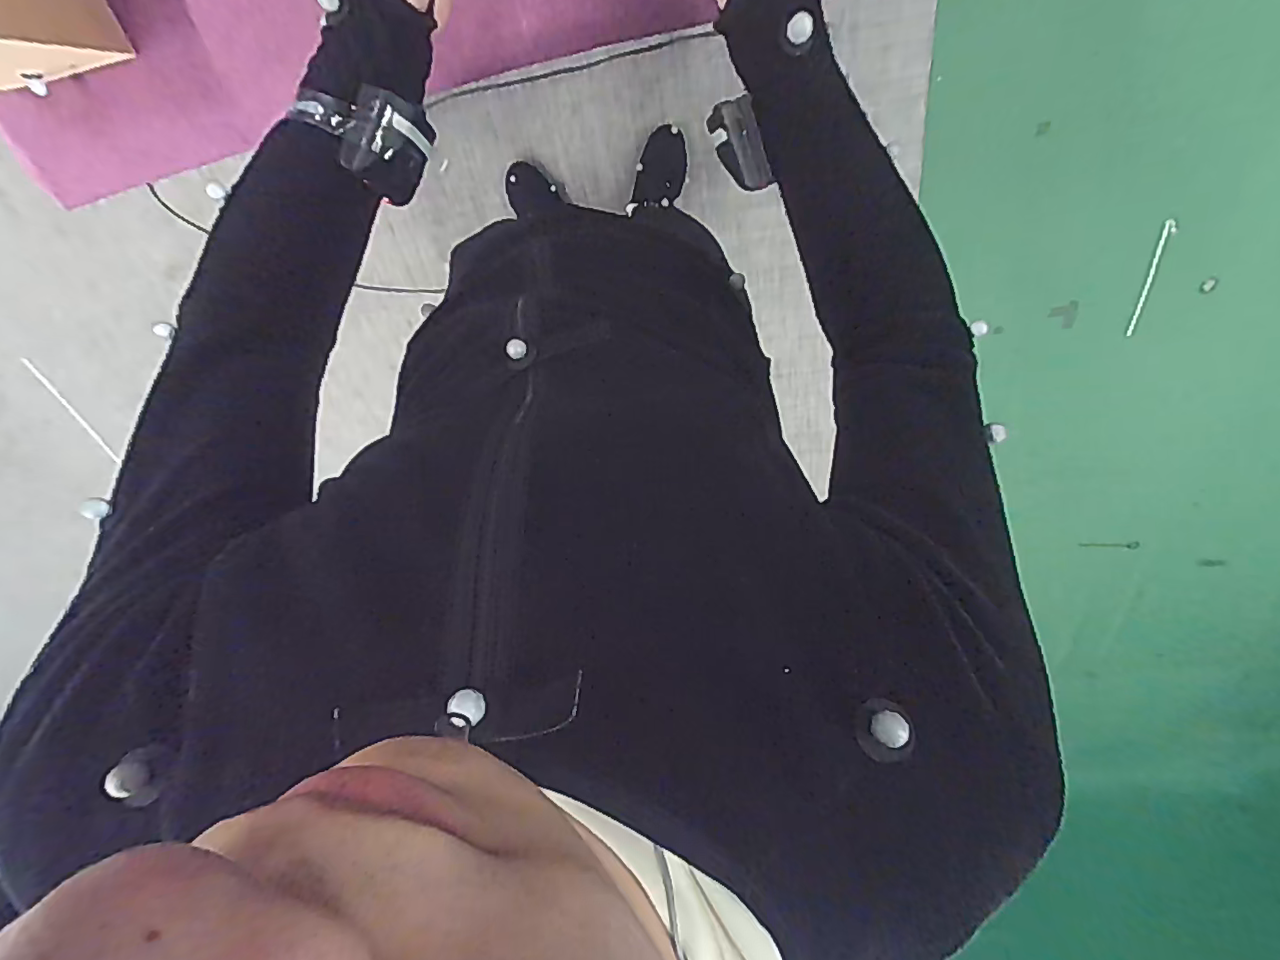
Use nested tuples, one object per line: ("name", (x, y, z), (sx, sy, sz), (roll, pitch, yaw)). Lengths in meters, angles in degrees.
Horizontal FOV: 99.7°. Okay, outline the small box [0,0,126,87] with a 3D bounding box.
("small box", (-0.665, -0.491, 0.503), (0.168, 0.176, 0.179), (-10, 124, 6))
